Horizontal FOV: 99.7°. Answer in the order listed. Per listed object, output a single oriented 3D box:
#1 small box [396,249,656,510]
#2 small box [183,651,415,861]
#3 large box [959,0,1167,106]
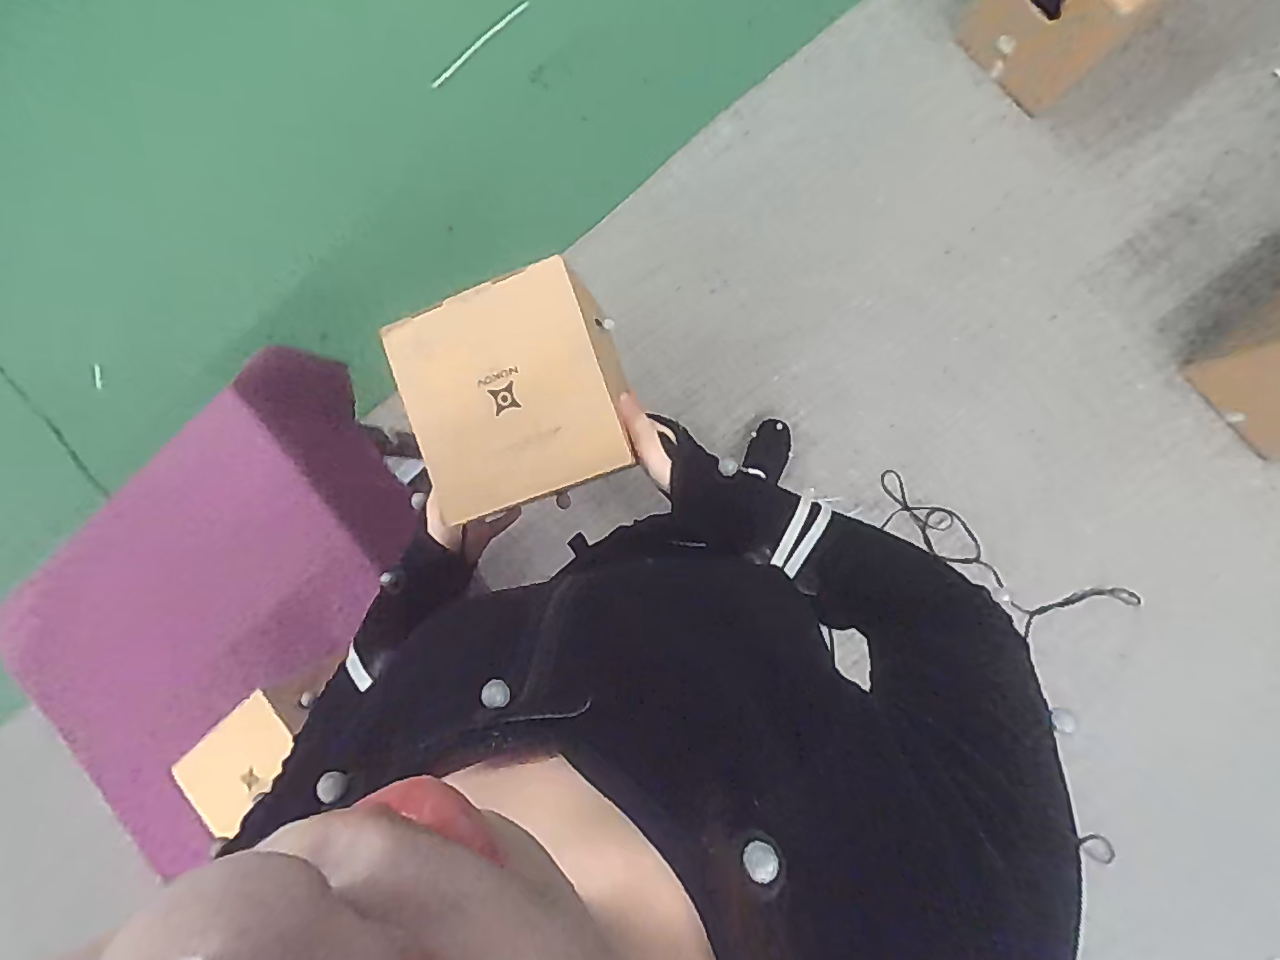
[{"bbox_3d":[-0.091,-0.083,0.516,0.168,0.176,0.179,-17,92,8],"label":"small box"},{"bbox_3d":[-0.461,0.363,0.756,0.168,0.176,0.179,-42,85,6],"label":"small box"},{"bbox_3d":[1.051,-1.192,1.235,0.408,0.320,0.320,-39,85,4],"label":"large box"}]
